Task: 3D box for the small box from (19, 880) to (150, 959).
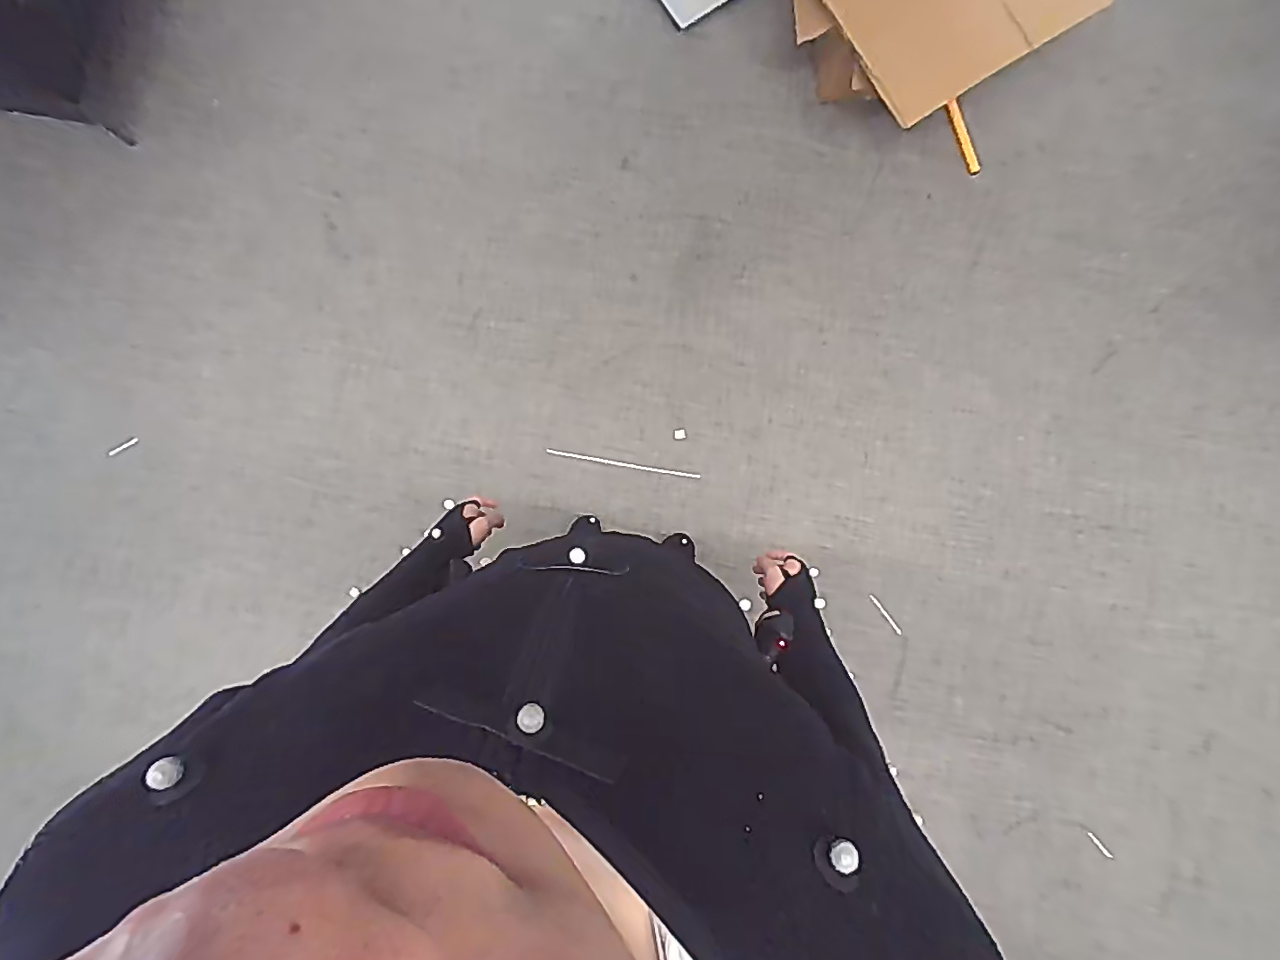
[{"bbox_3d":[-1.480,1.219,1.444,0.179,0.176,0.168,15,86,2],"label":"small box"}]
